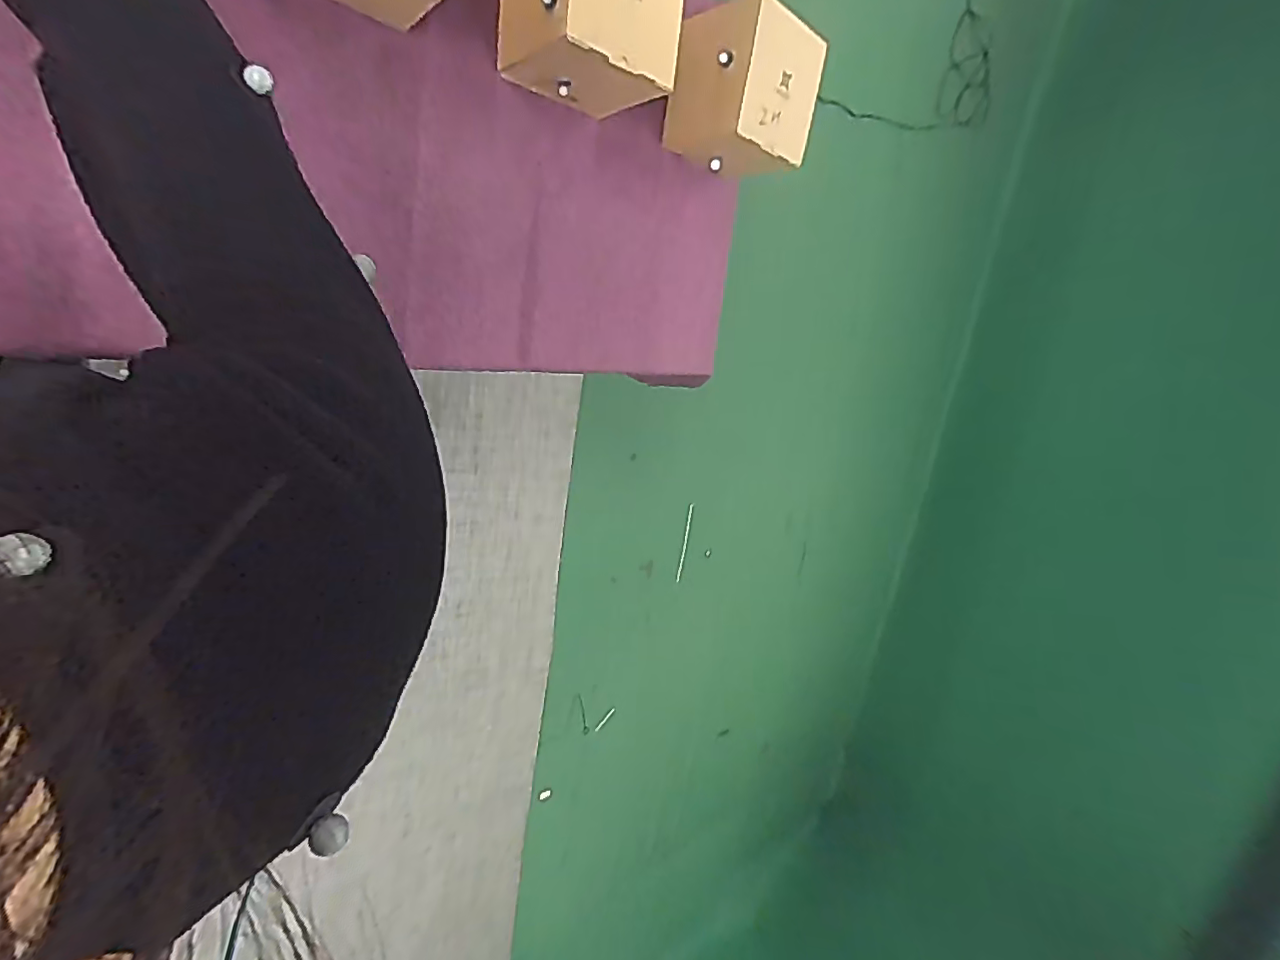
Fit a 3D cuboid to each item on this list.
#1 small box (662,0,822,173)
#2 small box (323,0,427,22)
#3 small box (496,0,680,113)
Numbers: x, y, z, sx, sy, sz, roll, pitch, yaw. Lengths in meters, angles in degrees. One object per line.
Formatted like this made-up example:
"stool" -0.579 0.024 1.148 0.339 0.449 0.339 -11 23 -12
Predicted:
"small box" 0.155 -0.611 0.857 0.168 0.176 0.179 -4 112 -40
"small box" -0.279 -0.562 0.489 0.179 0.176 0.168 -5 110 -40
"small box" -0.067 -0.594 0.672 0.168 0.176 0.179 -7 112 -40
